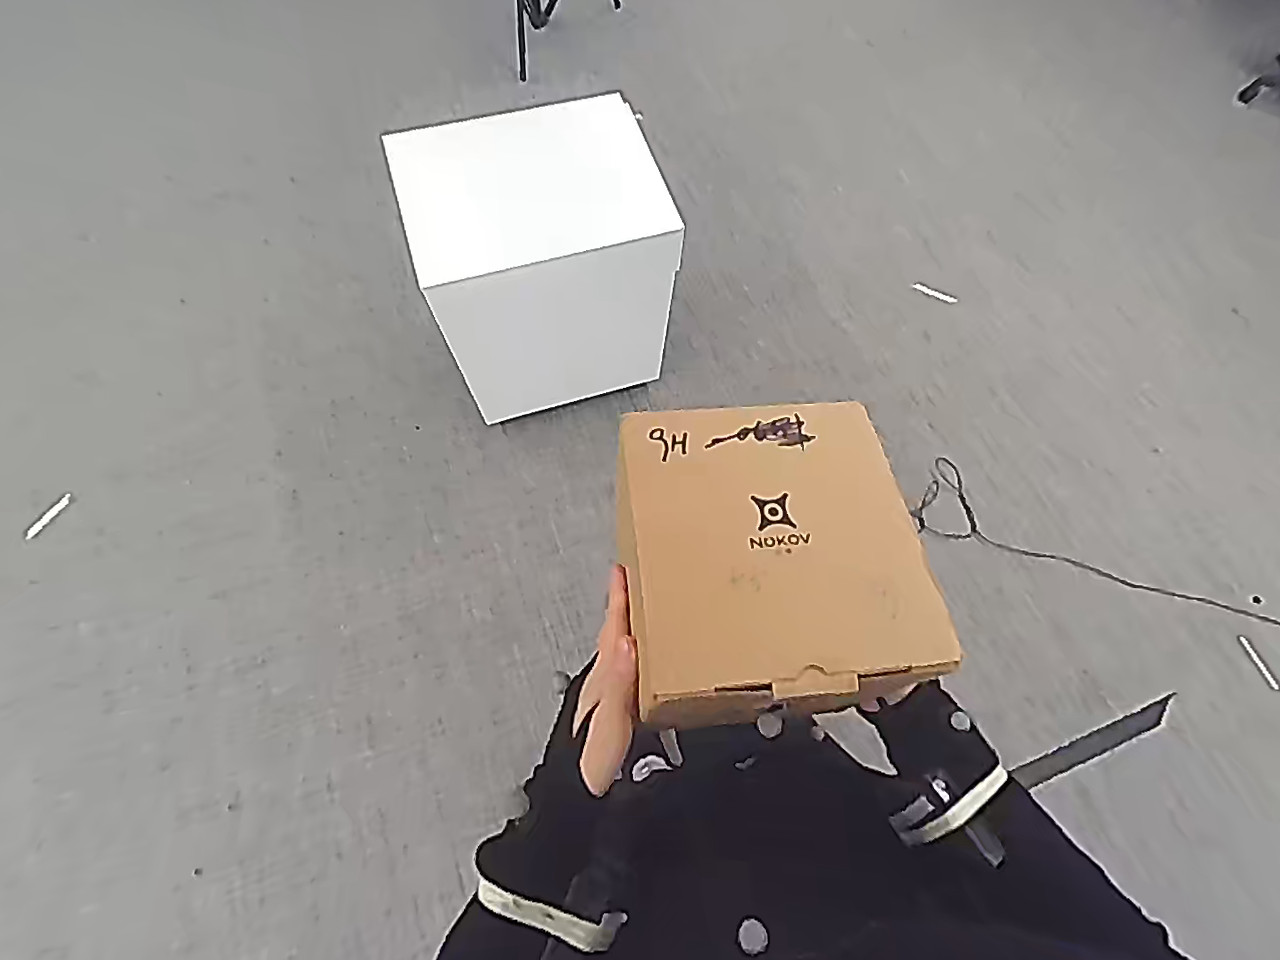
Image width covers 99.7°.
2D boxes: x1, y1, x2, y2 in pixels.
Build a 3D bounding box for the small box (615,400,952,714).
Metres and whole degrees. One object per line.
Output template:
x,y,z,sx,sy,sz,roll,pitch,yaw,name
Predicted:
0.072,0.064,0.386,0.168,0.176,0.179,-3,61,-7,small box
